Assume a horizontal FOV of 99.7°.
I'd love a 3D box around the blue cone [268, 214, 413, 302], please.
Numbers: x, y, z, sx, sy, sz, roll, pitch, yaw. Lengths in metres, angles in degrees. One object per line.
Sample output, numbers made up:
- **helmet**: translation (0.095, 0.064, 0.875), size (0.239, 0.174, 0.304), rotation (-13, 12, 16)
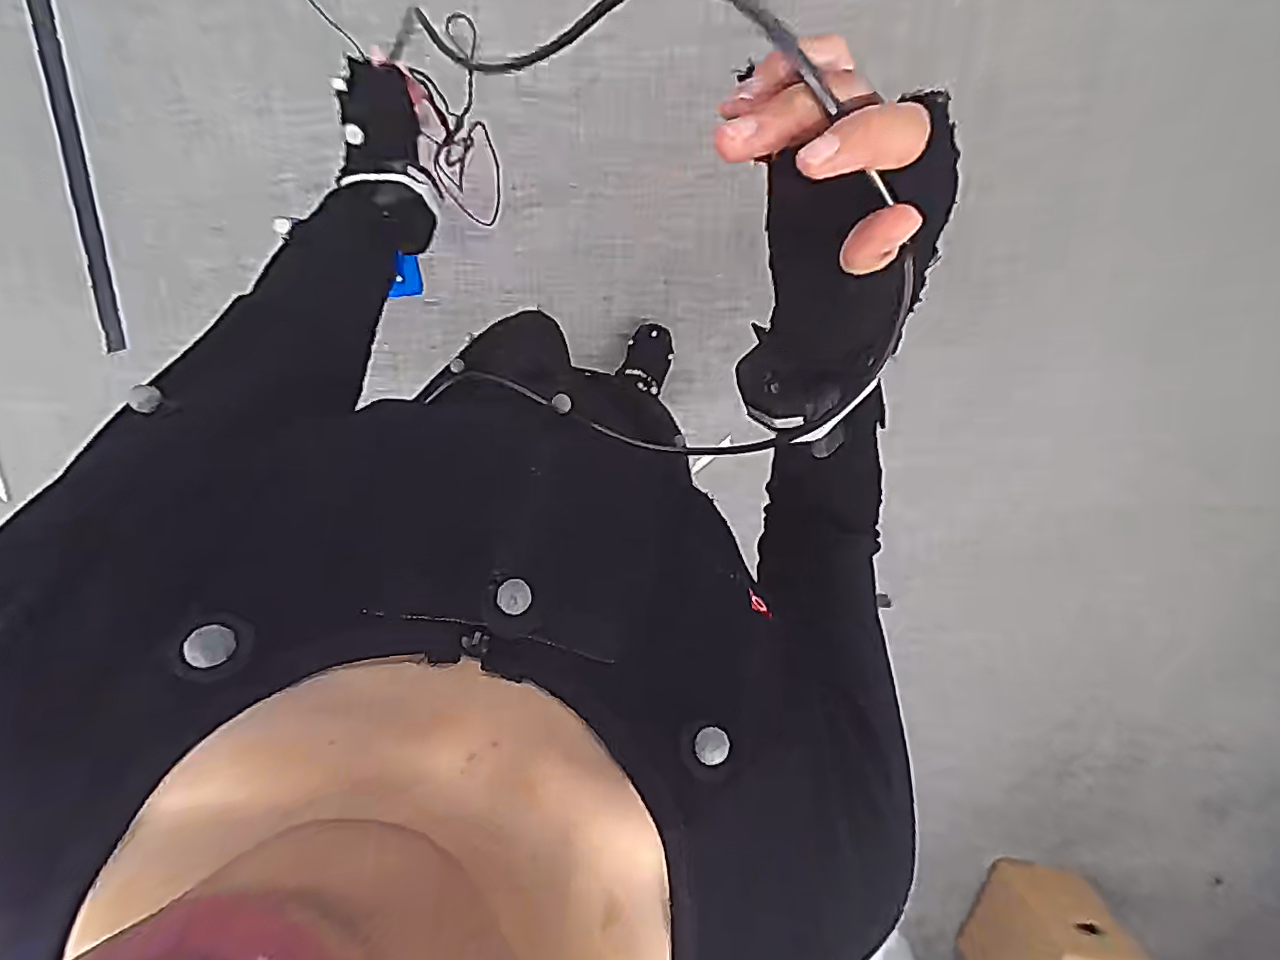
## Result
- **blue cone**: translation (-0.647, -0.492, 1.147), size (0.192, 0.380, 0.193), rotation (-5, 106, -1)
